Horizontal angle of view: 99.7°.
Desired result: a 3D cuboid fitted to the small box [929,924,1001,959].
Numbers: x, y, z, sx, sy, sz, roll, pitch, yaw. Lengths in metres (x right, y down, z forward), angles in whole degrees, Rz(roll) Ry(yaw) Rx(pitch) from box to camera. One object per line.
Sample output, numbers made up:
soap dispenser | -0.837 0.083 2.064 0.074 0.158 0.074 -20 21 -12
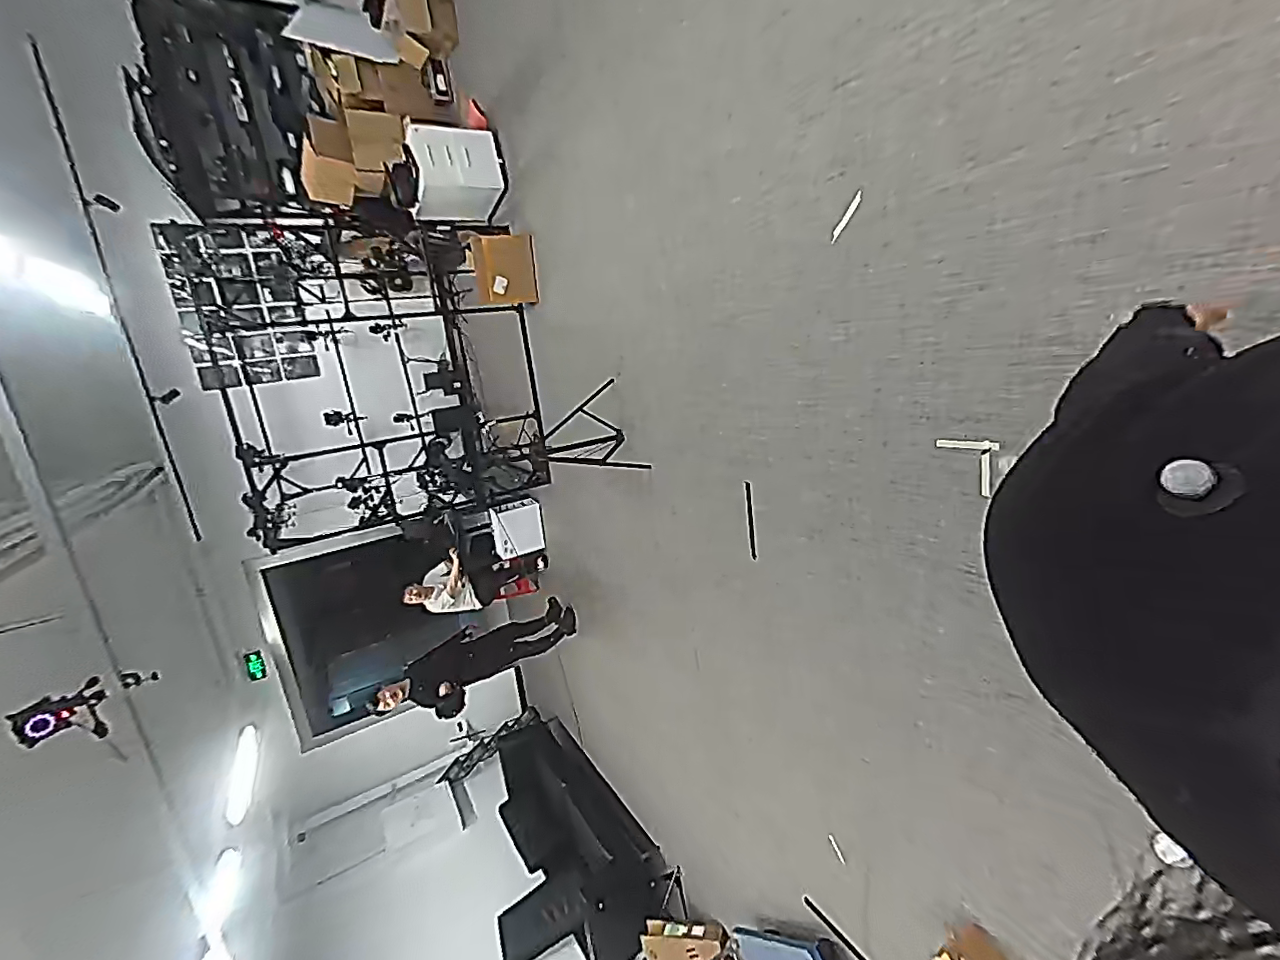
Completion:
small box | 1.122 1.672 1.836 0.179 0.176 0.168 47 141 41
